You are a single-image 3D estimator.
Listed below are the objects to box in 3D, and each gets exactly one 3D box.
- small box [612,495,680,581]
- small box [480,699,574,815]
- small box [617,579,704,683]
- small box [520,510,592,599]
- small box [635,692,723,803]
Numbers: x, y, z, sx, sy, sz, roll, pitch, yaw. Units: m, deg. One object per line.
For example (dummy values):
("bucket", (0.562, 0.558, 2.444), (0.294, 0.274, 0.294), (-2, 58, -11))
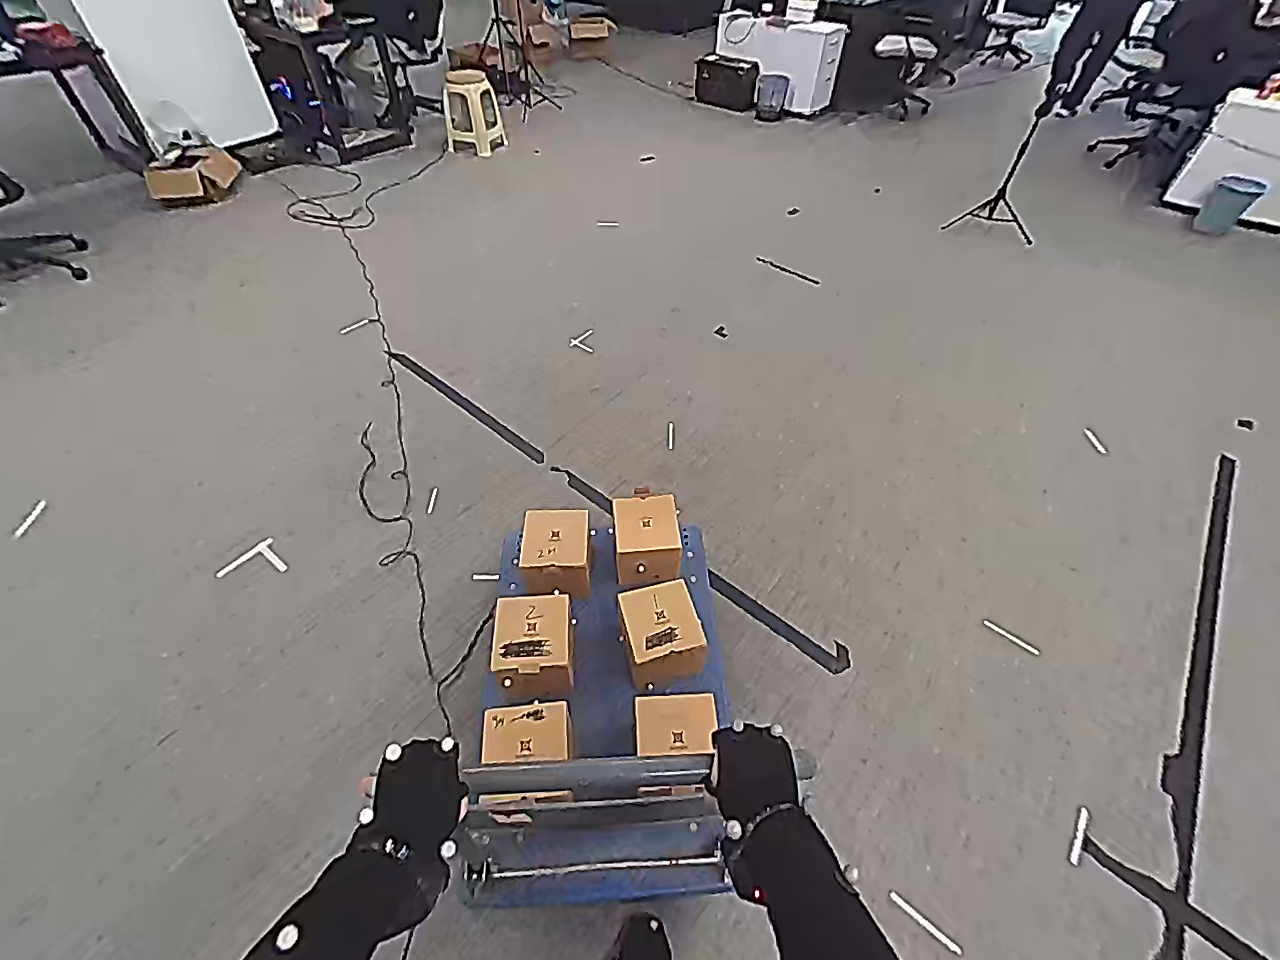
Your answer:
("small box", (0.014, 0.163, 1.474), (0.168, 0.176, 0.179), (-4, 49, -4))
("small box", (-0.224, 0.573, 1.109), (0.168, 0.176, 0.179), (-4, 49, -6))
("small box", (0.046, 0.367, 1.295), (0.168, 0.176, 0.179), (-11, 49, -11))
("small box", (-0.216, 0.197, 1.437), (0.168, 0.176, 0.179), (-1, 50, -1))
("small box", (0.074, 0.561, 1.128), (0.168, 0.176, 0.179), (-1, 48, -3))
